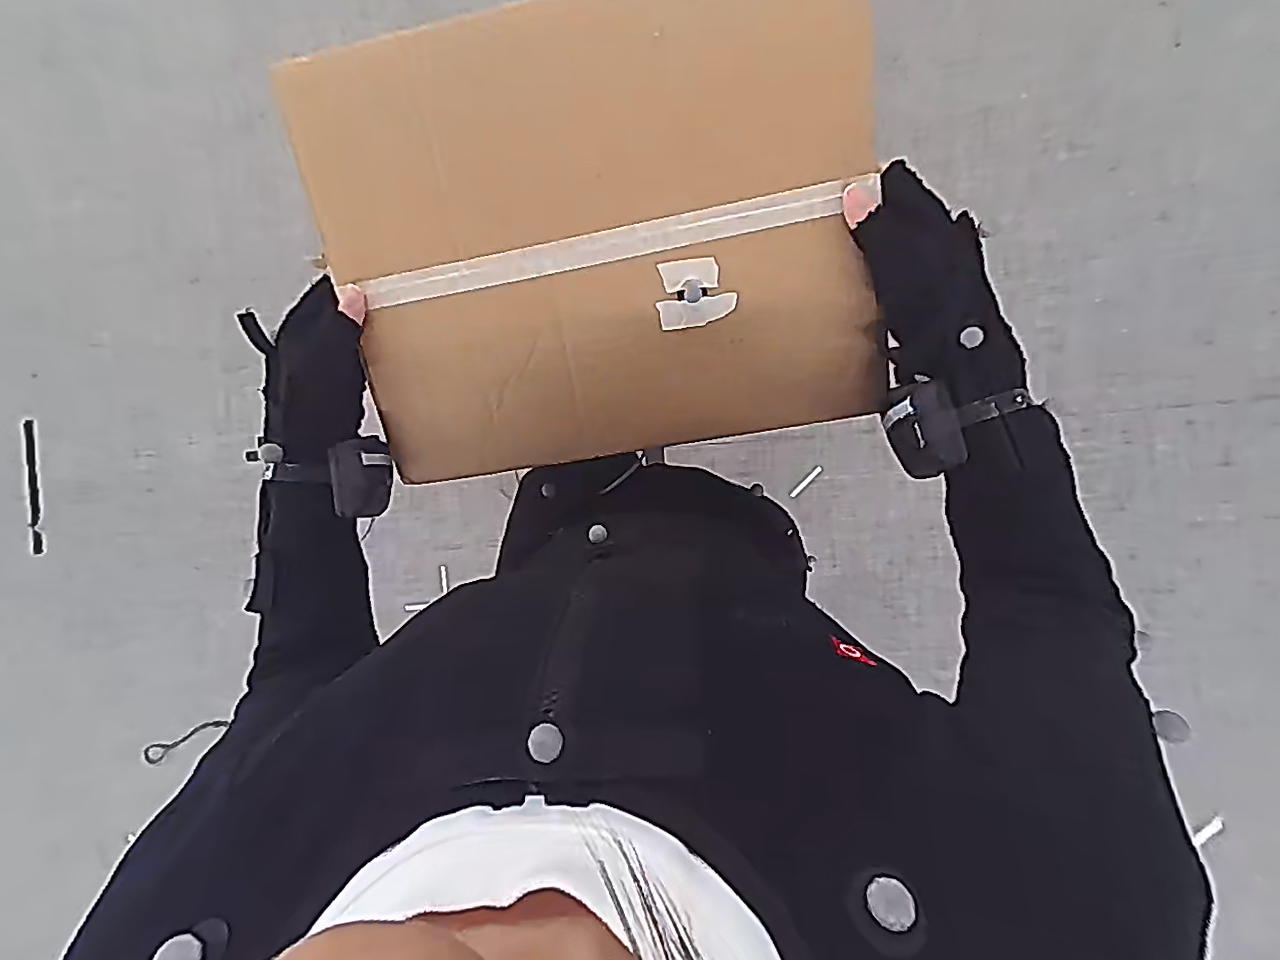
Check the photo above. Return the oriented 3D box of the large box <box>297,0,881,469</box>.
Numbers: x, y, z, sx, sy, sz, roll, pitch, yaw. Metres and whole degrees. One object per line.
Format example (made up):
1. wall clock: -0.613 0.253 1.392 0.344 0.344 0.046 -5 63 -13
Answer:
1. large box: -0.023 -0.228 0.553 0.408 0.320 0.320 -9 107 6
